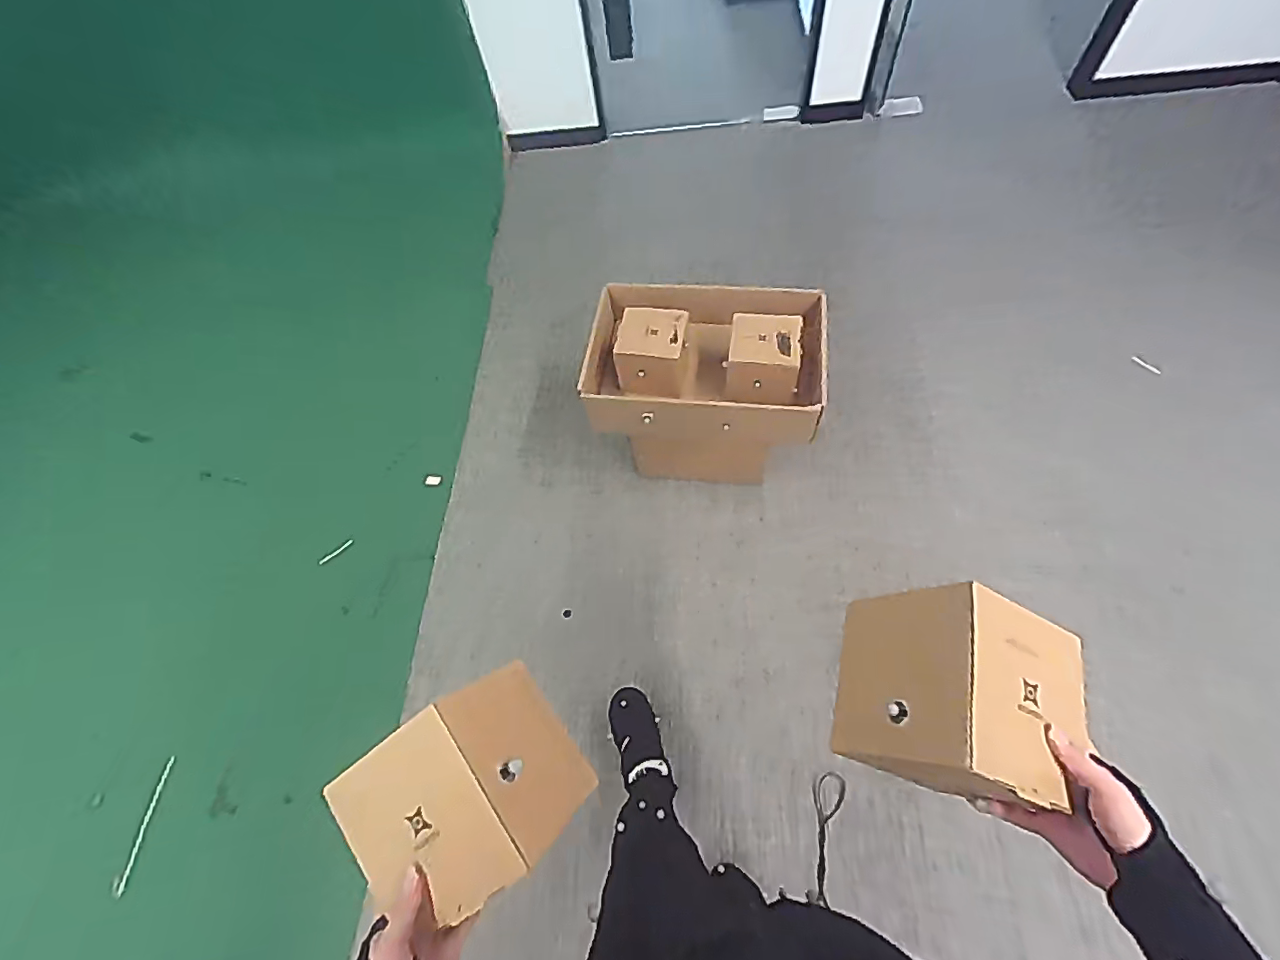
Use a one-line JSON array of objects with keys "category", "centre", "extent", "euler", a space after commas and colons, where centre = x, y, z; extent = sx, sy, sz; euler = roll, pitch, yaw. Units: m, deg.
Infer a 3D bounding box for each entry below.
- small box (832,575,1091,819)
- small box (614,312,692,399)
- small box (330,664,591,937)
[{"category": "small box", "centre": [0.331, 0.226, 0.578], "extent": [0.168, 0.176, 0.179], "euler": [28, 61, -15]}, {"category": "small box", "centre": [0.042, -0.338, 1.482], "extent": [0.179, 0.176, 0.168], "euler": [7, 63, 12]}, {"category": "small box", "centre": [-0.185, 0.326, 0.596], "extent": [0.168, 0.176, 0.179], "euler": [-40, 77, 11]}]
